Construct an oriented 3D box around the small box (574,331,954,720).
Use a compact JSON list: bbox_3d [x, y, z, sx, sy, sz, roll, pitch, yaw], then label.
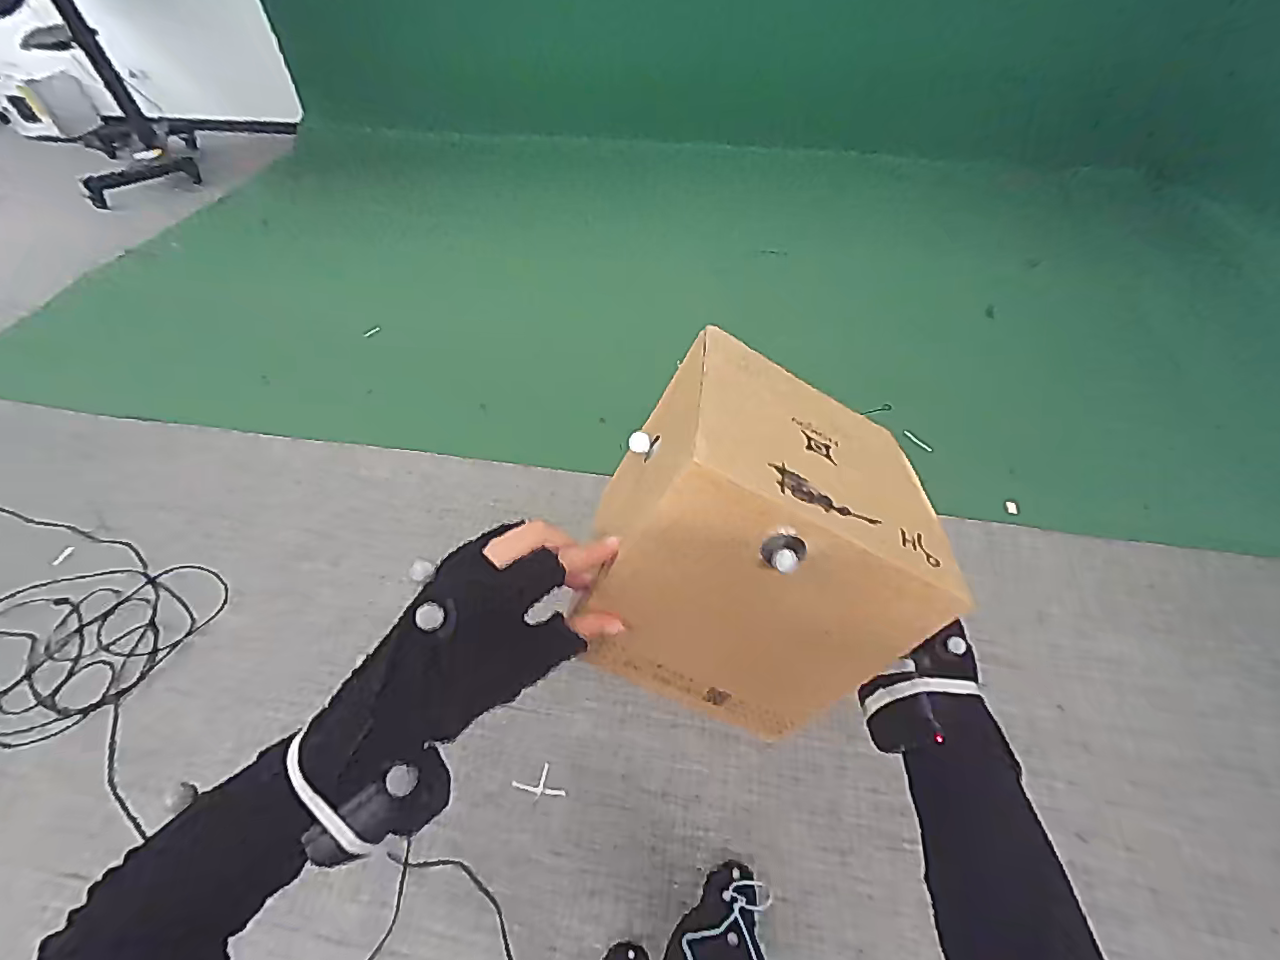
[{"bbox_3d":[0.070,0.030,0.384,0.168,0.176,0.179,27,35,-9],"label":"small box"}]
